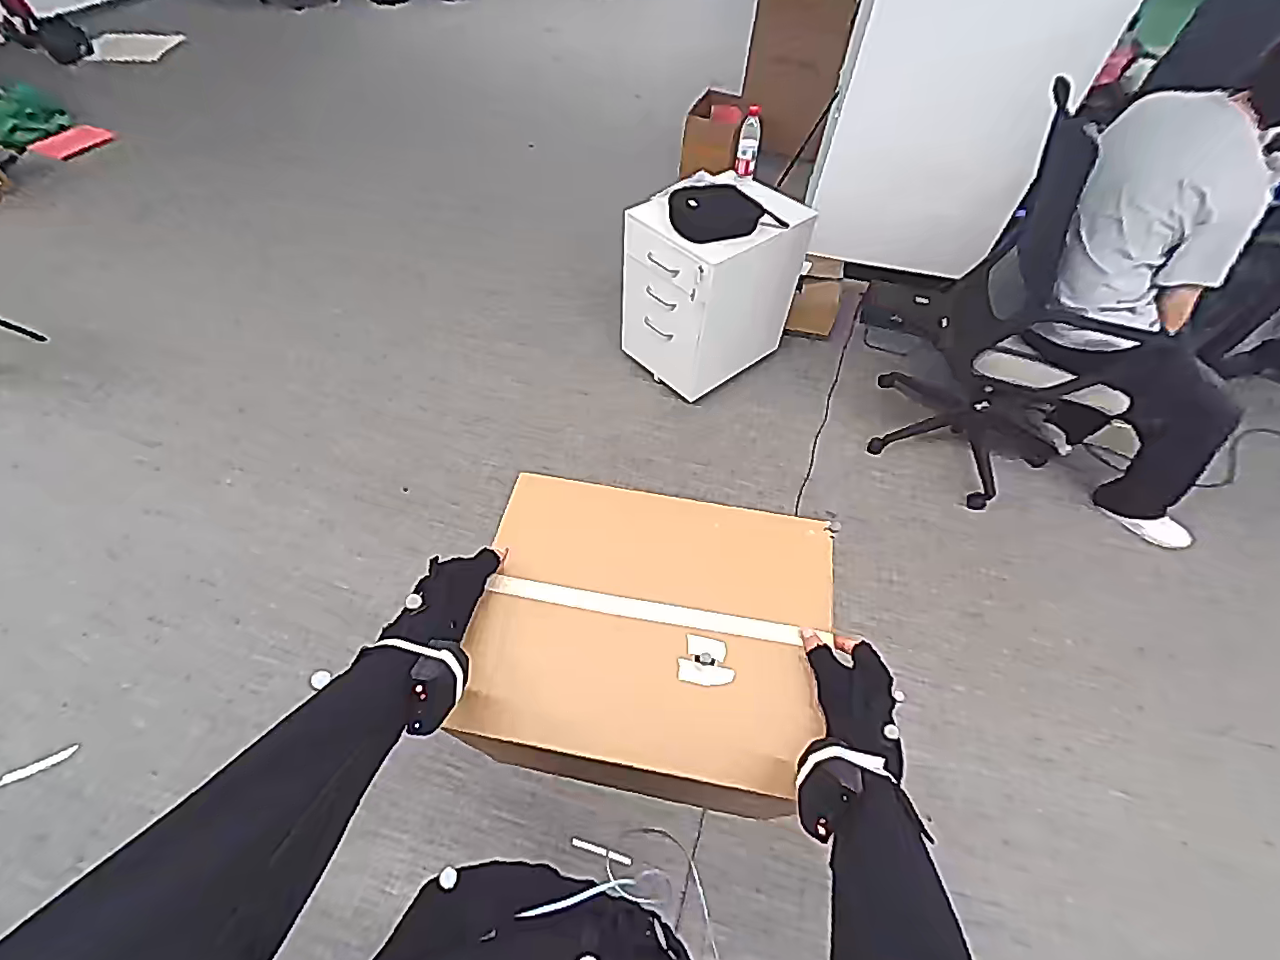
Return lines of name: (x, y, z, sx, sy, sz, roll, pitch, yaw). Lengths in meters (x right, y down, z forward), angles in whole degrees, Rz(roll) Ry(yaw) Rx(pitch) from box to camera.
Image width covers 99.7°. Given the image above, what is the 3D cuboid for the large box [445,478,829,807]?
large box: (0.012, 0.232, 0.748, 0.408, 0.320, 0.320, 10, 58, 5)
